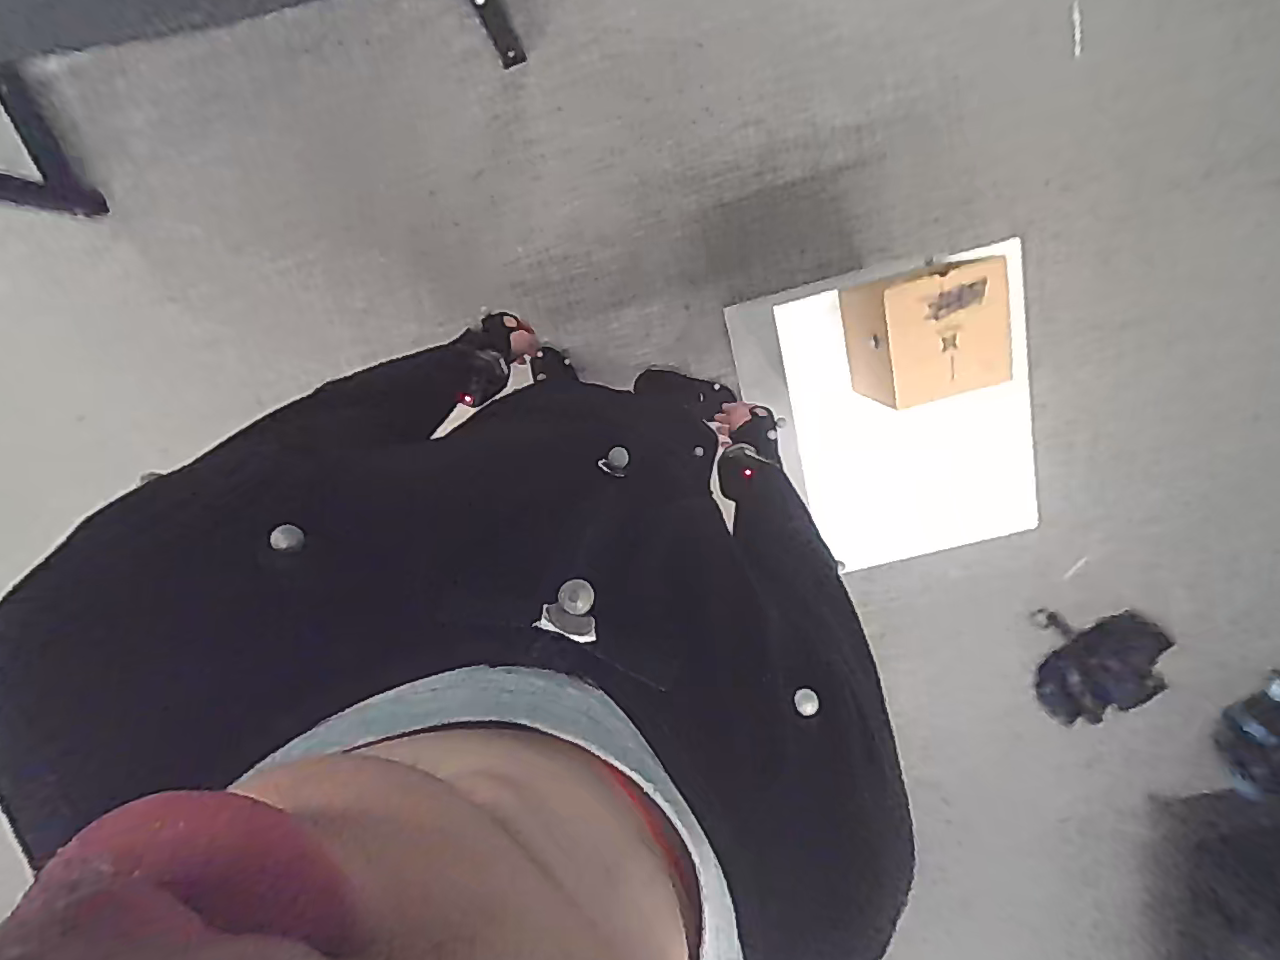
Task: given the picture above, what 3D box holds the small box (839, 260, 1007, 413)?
[{"bbox_3d":[0.417,-0.219,0.817,0.168,0.176,0.179,-14,110,3],"label":"small box"}]
